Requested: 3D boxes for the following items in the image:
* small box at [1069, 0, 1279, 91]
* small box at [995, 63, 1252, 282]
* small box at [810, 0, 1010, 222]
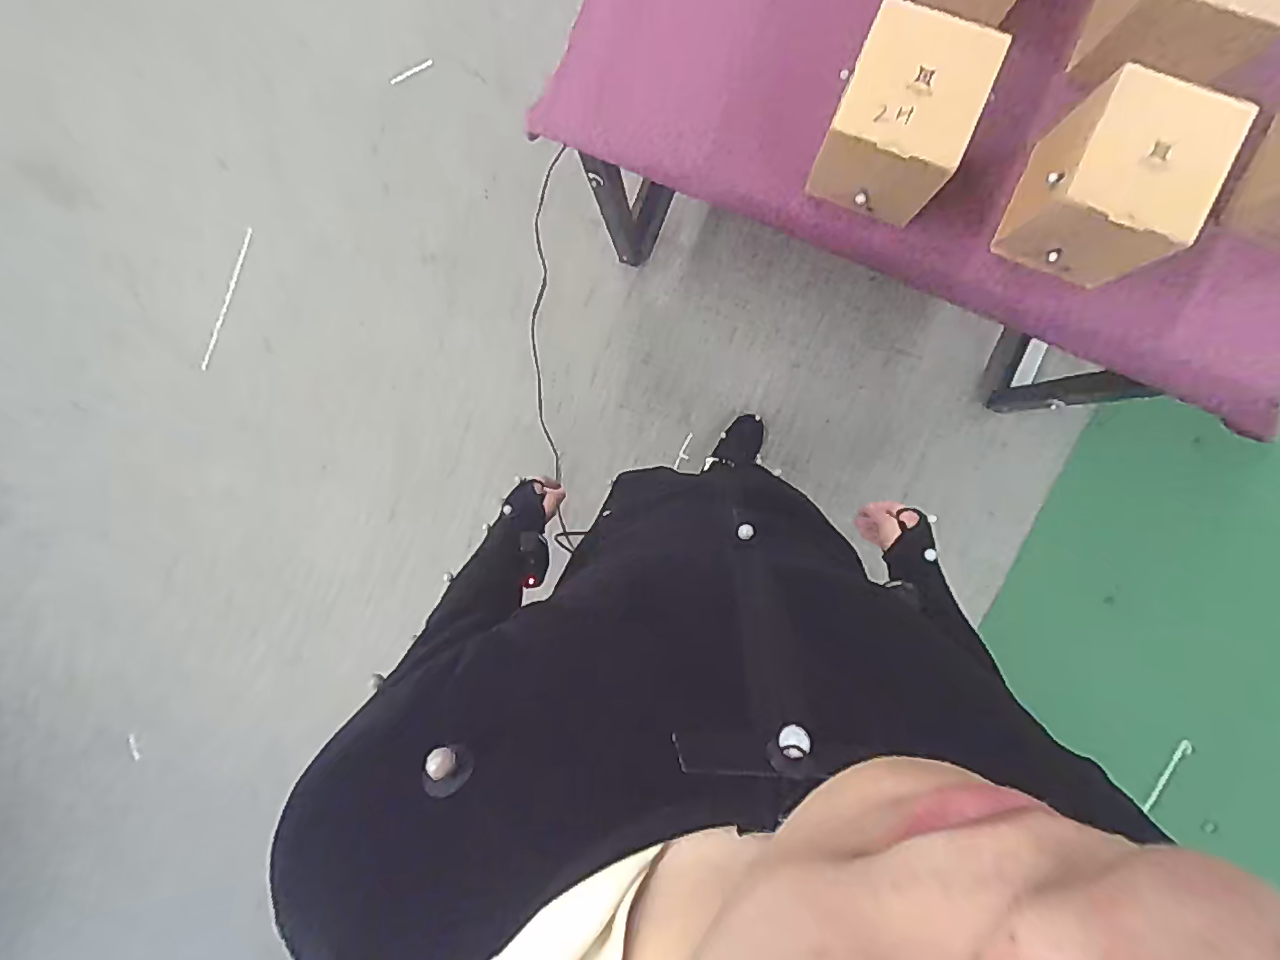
[{"bbox_3d":[0.728,-0.647,0.715,0.168,0.176,0.179,22,96,4],"label":"small box"},{"bbox_3d":[0.635,-0.401,0.738,0.168,0.176,0.179,23,95,3],"label":"small box"},{"bbox_3d":[0.356,-0.501,0.754,0.168,0.176,0.179,23,94,4],"label":"small box"}]
